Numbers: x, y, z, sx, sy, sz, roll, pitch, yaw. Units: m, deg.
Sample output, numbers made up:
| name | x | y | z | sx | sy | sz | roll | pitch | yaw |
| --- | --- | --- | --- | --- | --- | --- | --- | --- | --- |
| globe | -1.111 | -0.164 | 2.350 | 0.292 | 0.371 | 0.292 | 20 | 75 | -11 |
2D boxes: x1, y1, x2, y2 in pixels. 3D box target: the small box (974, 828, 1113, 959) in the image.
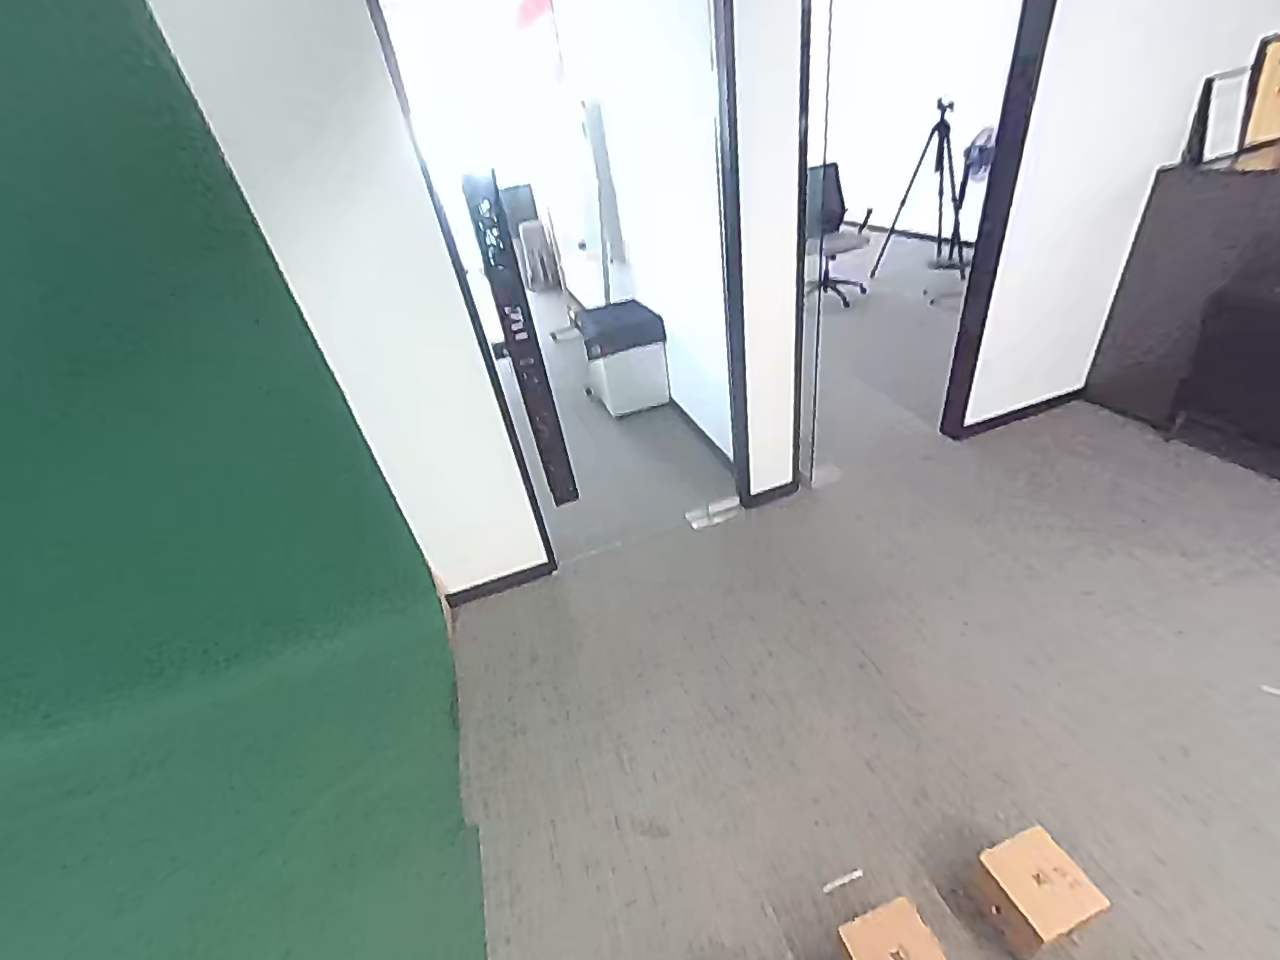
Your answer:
| name | x | y | z | sx | sy | sz | roll | pitch | yaw |
| --- | --- | --- | --- | --- | --- | --- | --- | --- | --- |
| small box | 0.871 | 0.920 | 1.189 | 0.179 | 0.176 | 0.168 | -17 | 35 | -11 |

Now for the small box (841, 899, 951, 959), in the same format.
| name | x | y | z | sx | sy | sz | roll | pitch | yaw |
| --- | --- | --- | --- | --- | --- | --- | --- | --- | --- |
| small box | 0.535 | 1.025 | 1.122 | 0.179 | 0.176 | 0.168 | -17 | 33 | -10 |
